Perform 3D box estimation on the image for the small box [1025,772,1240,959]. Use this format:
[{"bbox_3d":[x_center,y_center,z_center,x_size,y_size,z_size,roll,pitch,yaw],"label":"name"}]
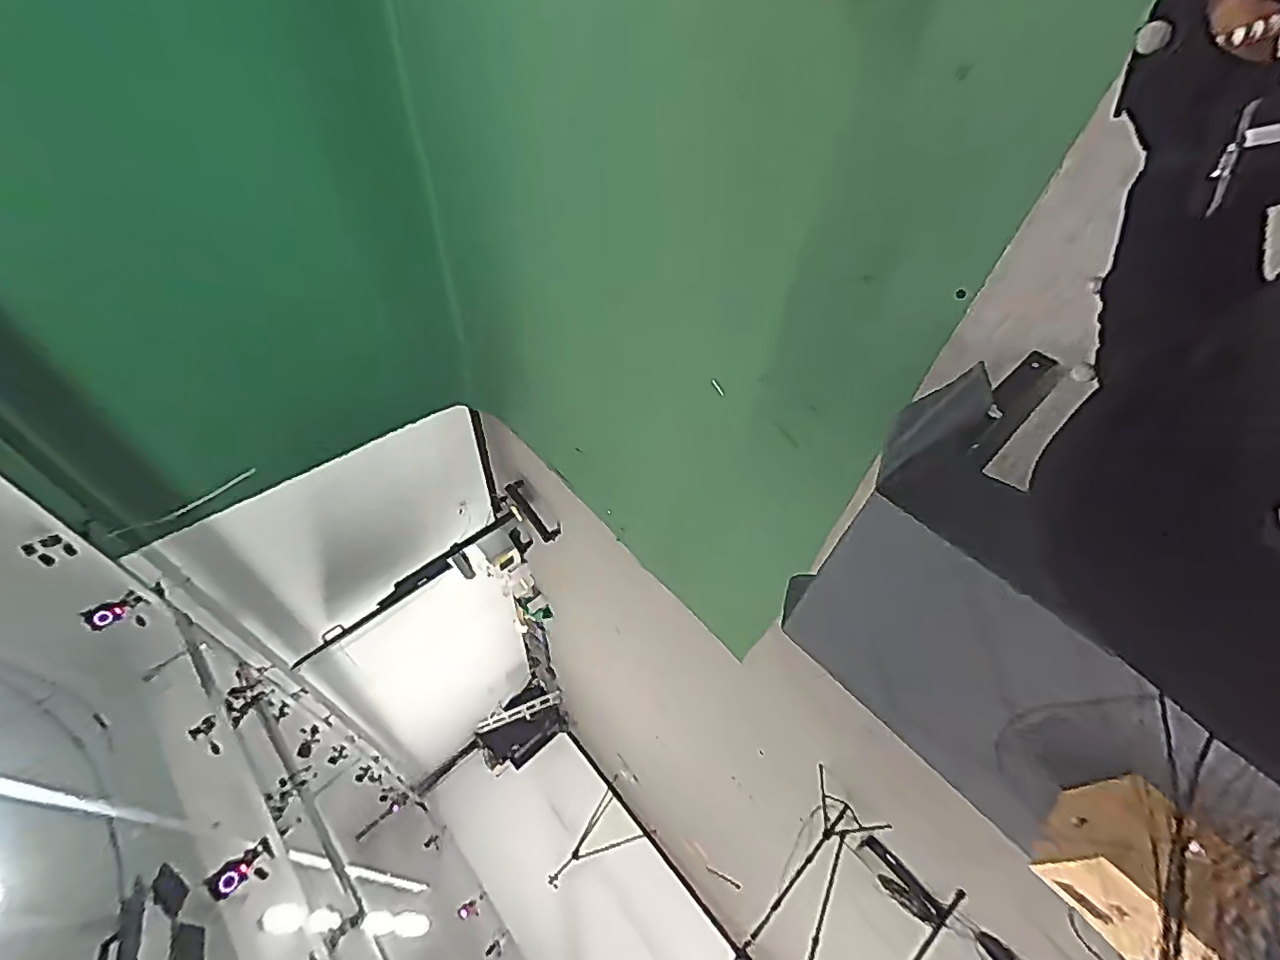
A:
[{"bbox_3d":[0.769,0.598,0.850,0.168,0.176,0.179,42,148,25],"label":"small box"}]
